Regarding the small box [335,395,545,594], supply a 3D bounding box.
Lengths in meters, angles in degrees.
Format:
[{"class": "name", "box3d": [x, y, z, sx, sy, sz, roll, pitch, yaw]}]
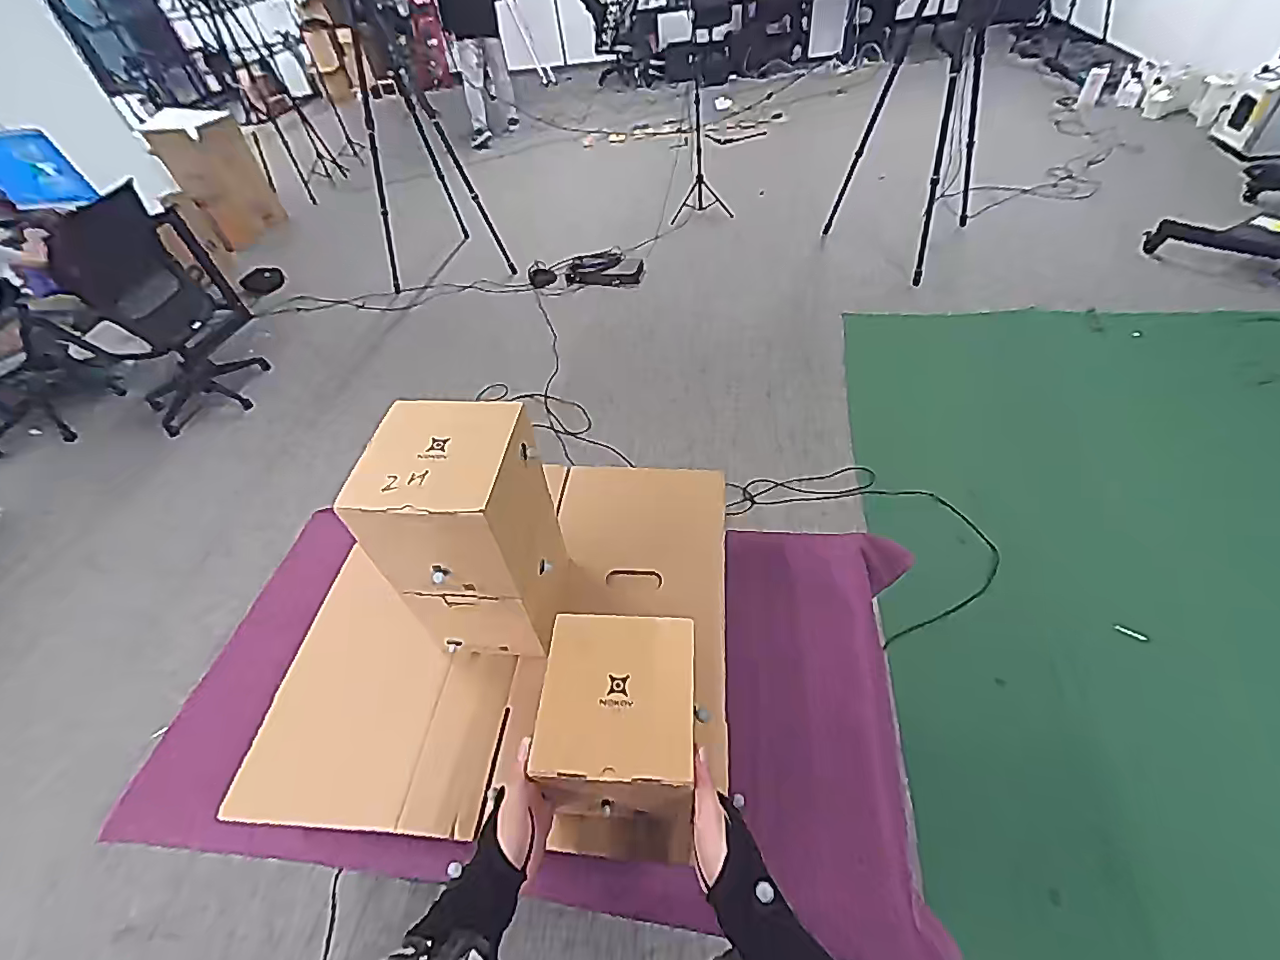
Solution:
[{"class": "small box", "box3d": [-0.222, 0.017, 0.660, 0.168, 0.176, 0.179, 2, 49, 6]}]

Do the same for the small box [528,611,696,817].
[{"class": "small box", "box3d": [-0.019, 0.274, 0.634, 0.168, 0.176, 0.179, 0, 49, 5]}]

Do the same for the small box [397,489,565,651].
[{"class": "small box", "box3d": [-0.211, 0.129, 0.780, 0.168, 0.176, 0.179, 2, 48, 6]}]
